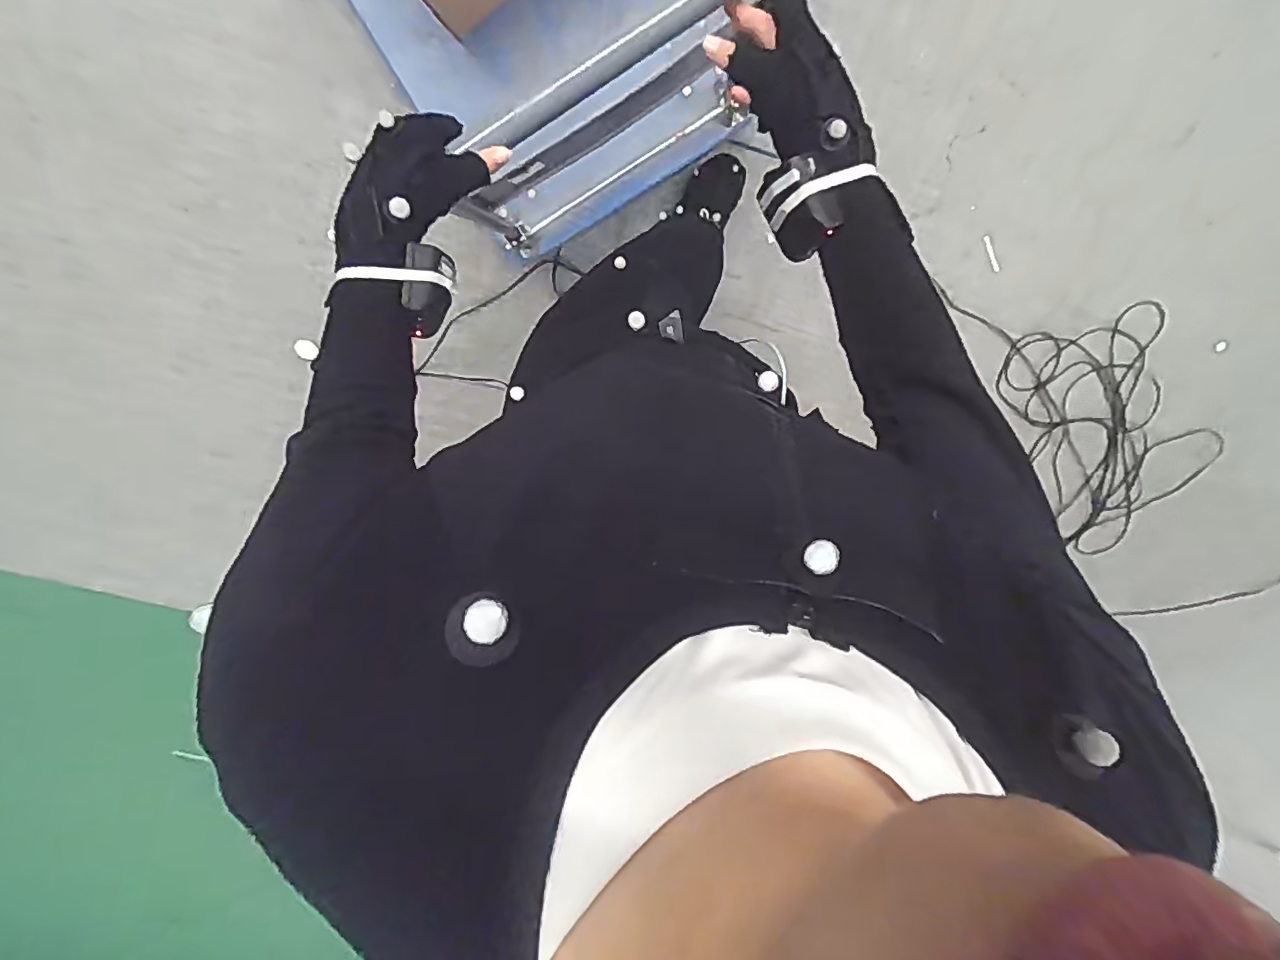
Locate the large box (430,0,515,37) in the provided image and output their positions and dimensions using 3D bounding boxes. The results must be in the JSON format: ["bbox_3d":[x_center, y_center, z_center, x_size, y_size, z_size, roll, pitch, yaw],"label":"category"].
[{"bbox_3d":[-0.227,-0.951,0.757,0.408,0.320,0.320,-30,111,12],"label":"large box"}]
